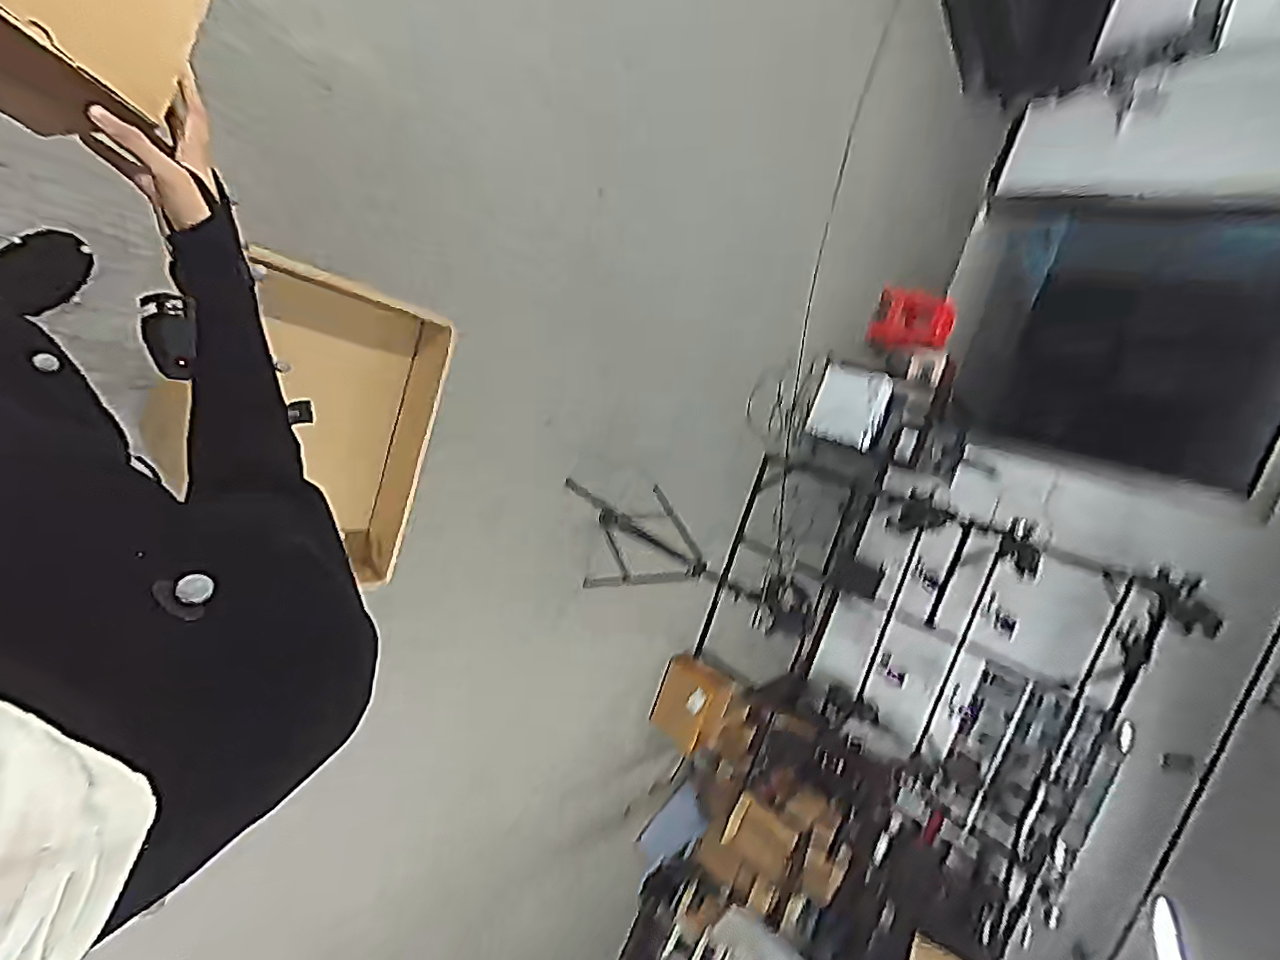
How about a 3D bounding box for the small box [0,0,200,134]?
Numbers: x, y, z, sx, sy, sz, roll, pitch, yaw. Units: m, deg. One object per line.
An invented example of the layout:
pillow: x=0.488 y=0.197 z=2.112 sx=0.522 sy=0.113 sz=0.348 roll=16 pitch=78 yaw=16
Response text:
small box: x=-0.502 y=-0.409 z=0.423 sx=0.168 sy=0.176 sz=0.179 roll=34 pitch=66 yaw=-72
